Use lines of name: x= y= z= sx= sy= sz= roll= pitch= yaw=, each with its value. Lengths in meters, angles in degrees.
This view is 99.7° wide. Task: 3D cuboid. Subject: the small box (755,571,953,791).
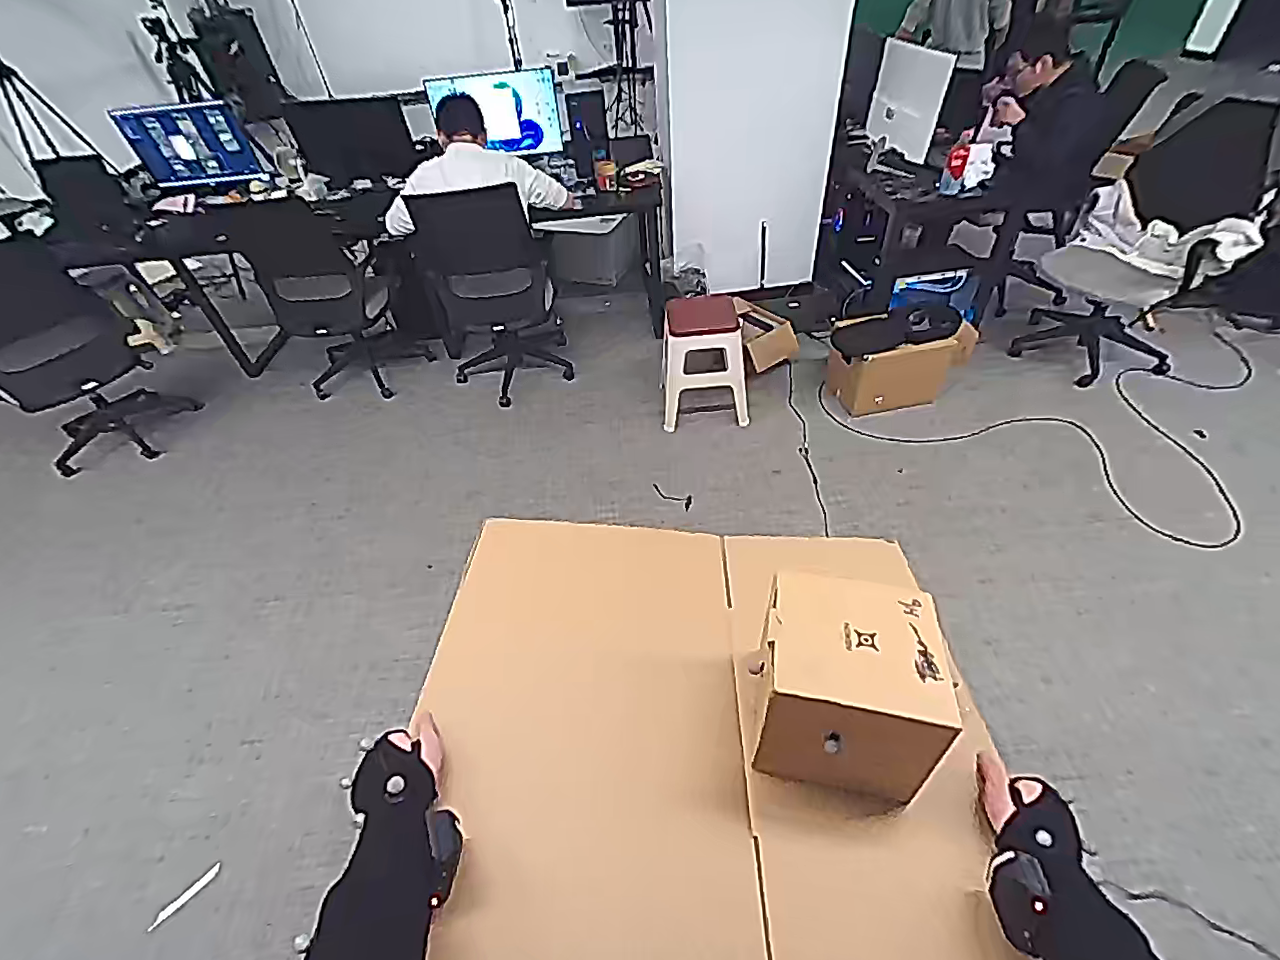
small box: x=0.232 y=0.233 z=0.632 sx=0.179 sy=0.176 sz=0.168 roll=7 pitch=40 yaw=11
